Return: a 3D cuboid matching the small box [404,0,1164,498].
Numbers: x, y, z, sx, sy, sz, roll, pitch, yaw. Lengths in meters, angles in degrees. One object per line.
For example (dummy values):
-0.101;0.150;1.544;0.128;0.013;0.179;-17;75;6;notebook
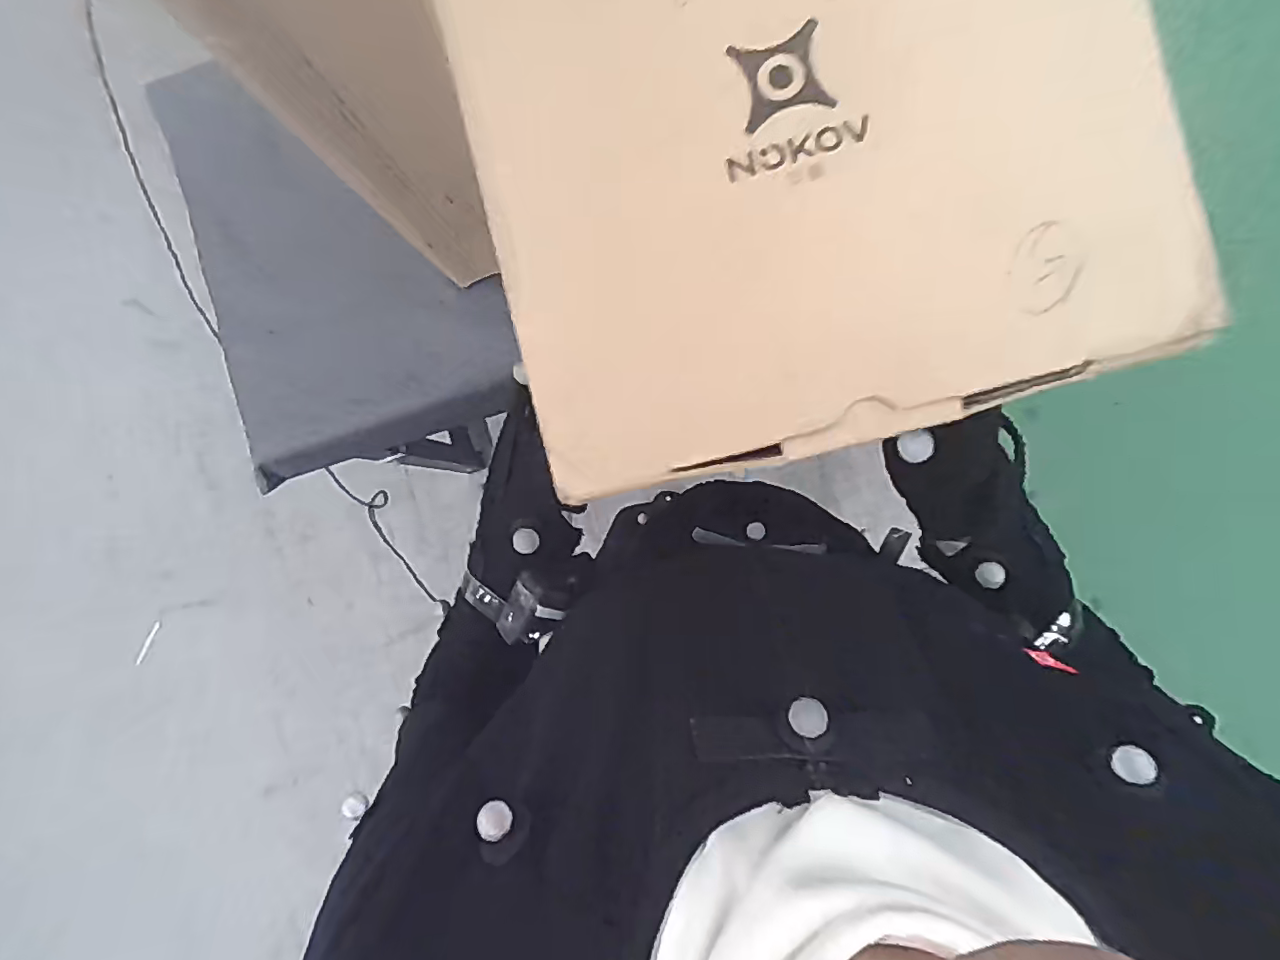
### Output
0.036;-0.097;0.218;0.168;0.176;0.179;-14;88;6;small box
